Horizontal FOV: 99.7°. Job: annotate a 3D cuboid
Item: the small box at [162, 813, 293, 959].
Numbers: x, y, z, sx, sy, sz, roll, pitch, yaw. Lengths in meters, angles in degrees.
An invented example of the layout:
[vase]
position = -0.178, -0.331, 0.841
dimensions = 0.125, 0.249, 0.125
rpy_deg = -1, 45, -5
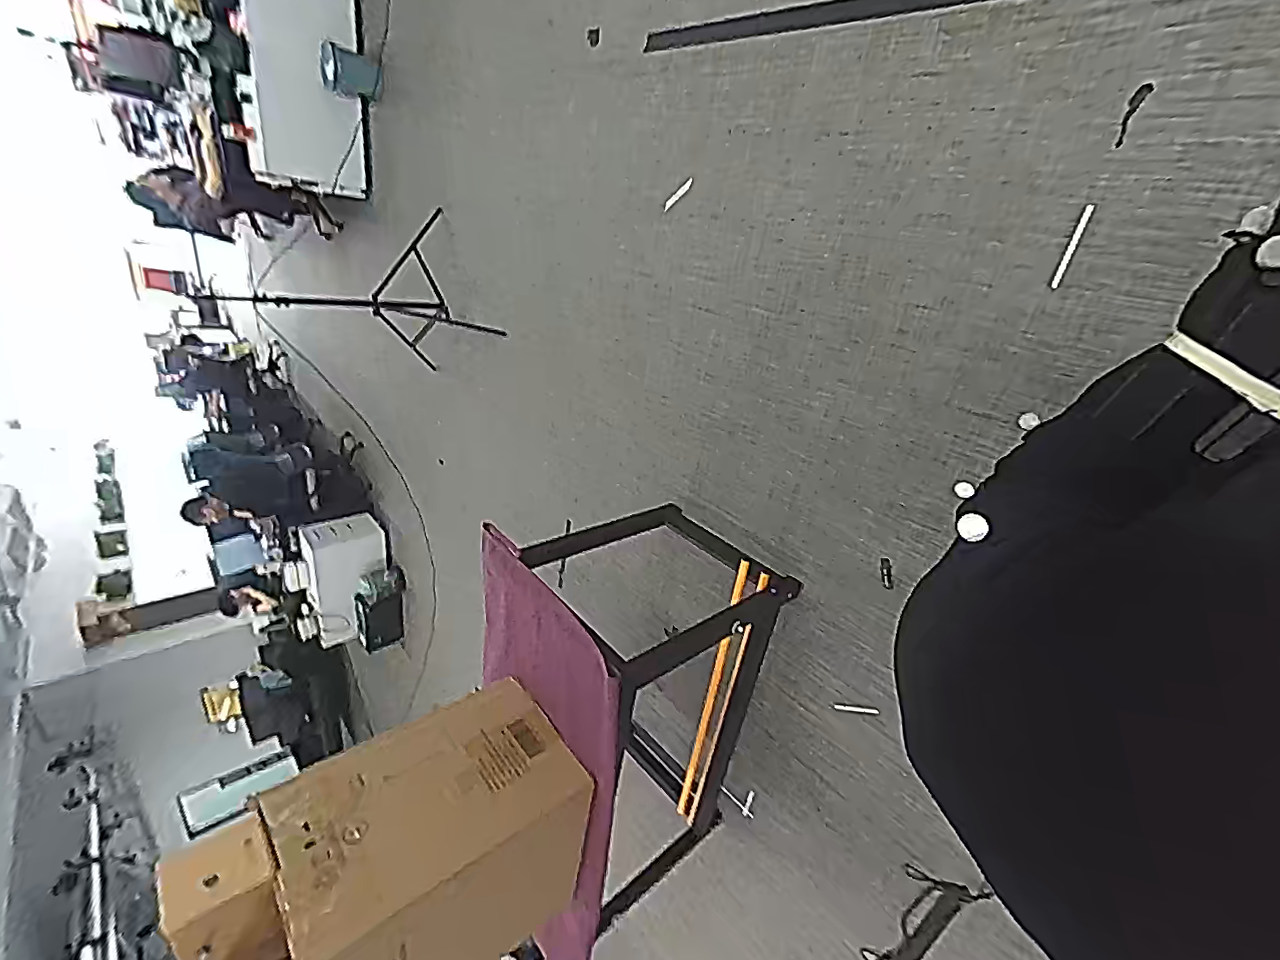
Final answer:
[small box]
position = -0.828, 0.828, 1.092
dimensions = 0.168, 0.176, 0.179
rpy_deg = 27, 122, 42
